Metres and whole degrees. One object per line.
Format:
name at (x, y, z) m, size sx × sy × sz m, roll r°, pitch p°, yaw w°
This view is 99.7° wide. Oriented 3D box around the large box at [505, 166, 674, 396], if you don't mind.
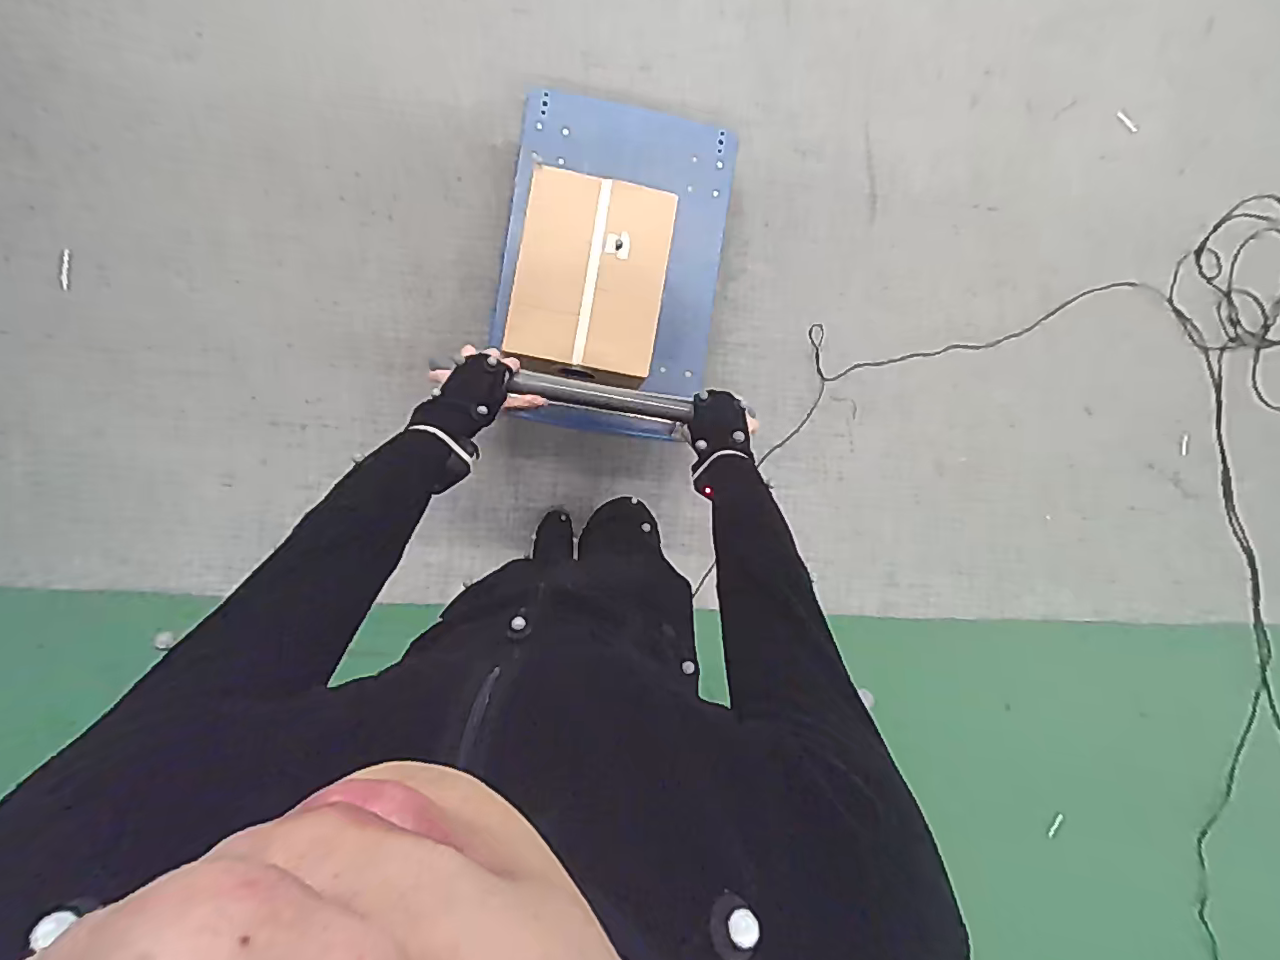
large box at (-0.119, -0.442, 1.293) m, size 0.320 × 0.320 × 0.408 m, roll 9°, pitch 88°, yaw -6°
